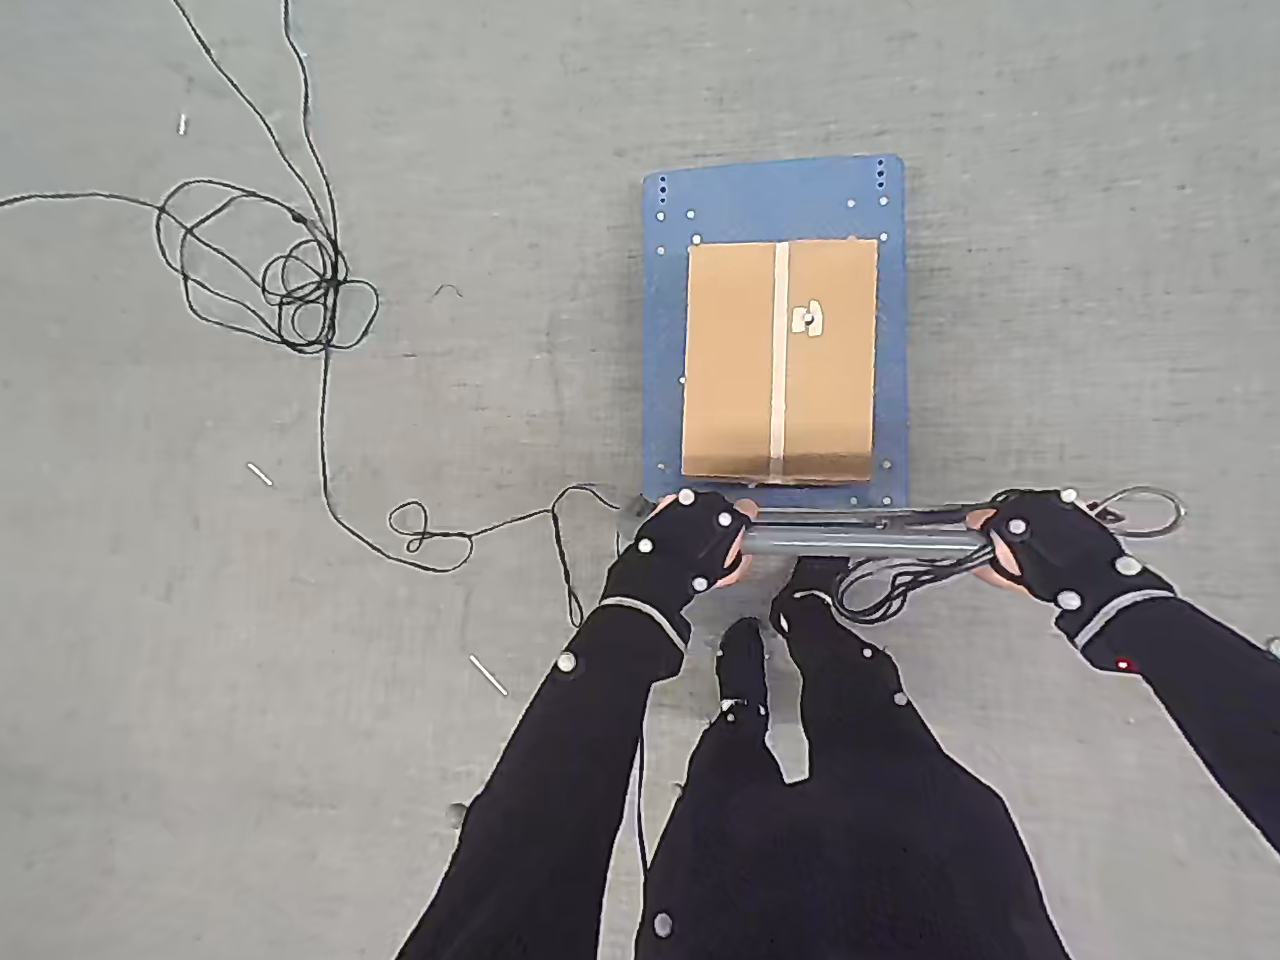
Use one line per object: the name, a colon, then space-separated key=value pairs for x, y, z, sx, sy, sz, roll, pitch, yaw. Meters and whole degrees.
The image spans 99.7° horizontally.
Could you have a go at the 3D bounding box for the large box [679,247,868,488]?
large box: x=0.247 y=-0.190 z=1.066 sx=0.320 sy=0.320 sz=0.408 roll=2 pitch=88 yaw=7
